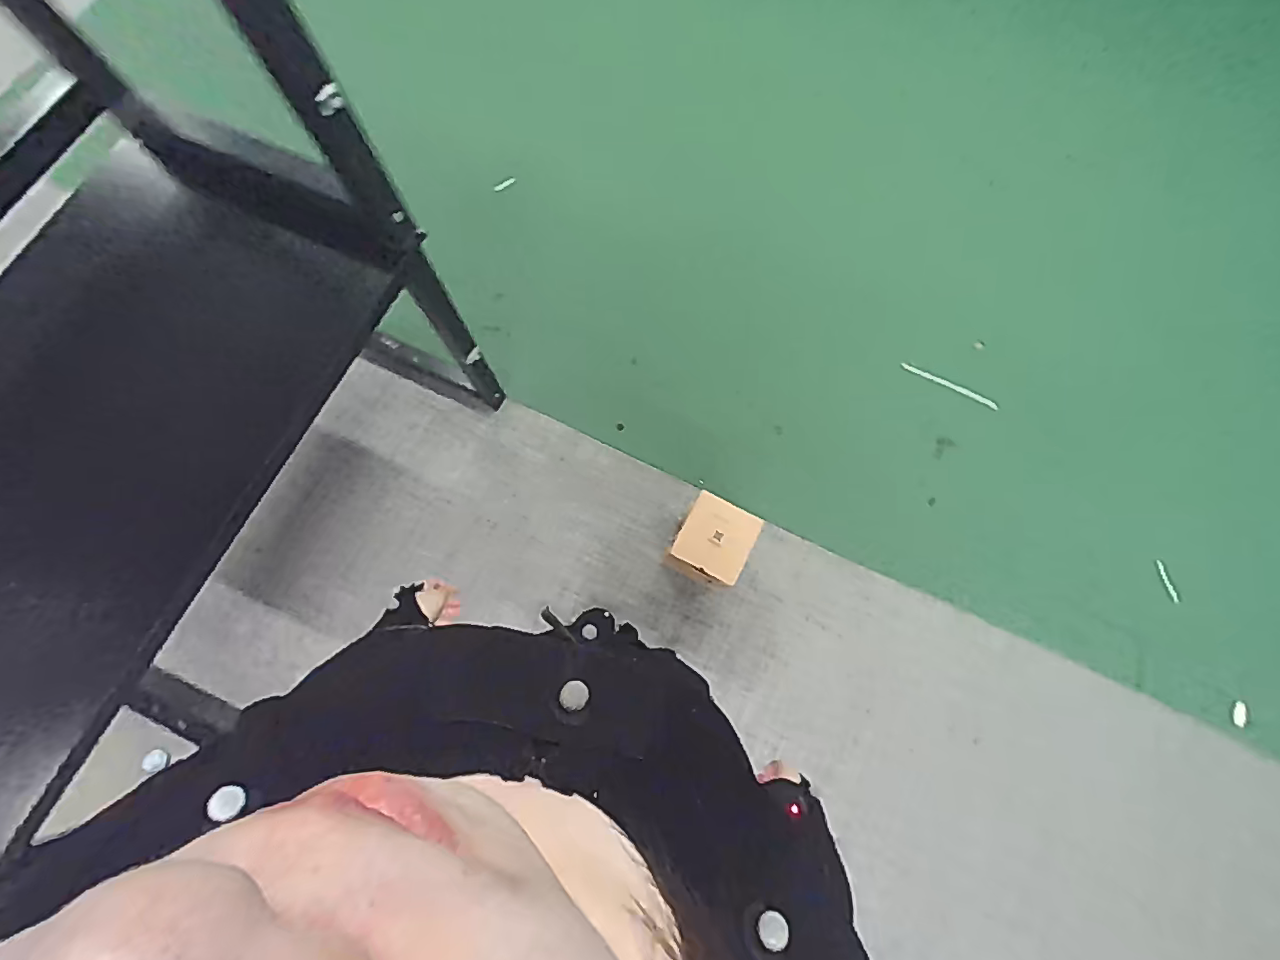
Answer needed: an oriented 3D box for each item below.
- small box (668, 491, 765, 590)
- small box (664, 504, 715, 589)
[{"bbox_3d":[0.177,0.154,1.307,0.168,0.176,0.179,28,77,4],"label":"small box"},{"bbox_3d":[0.178,0.187,1.464,0.179,0.176,0.168,29,77,4],"label":"small box"}]
